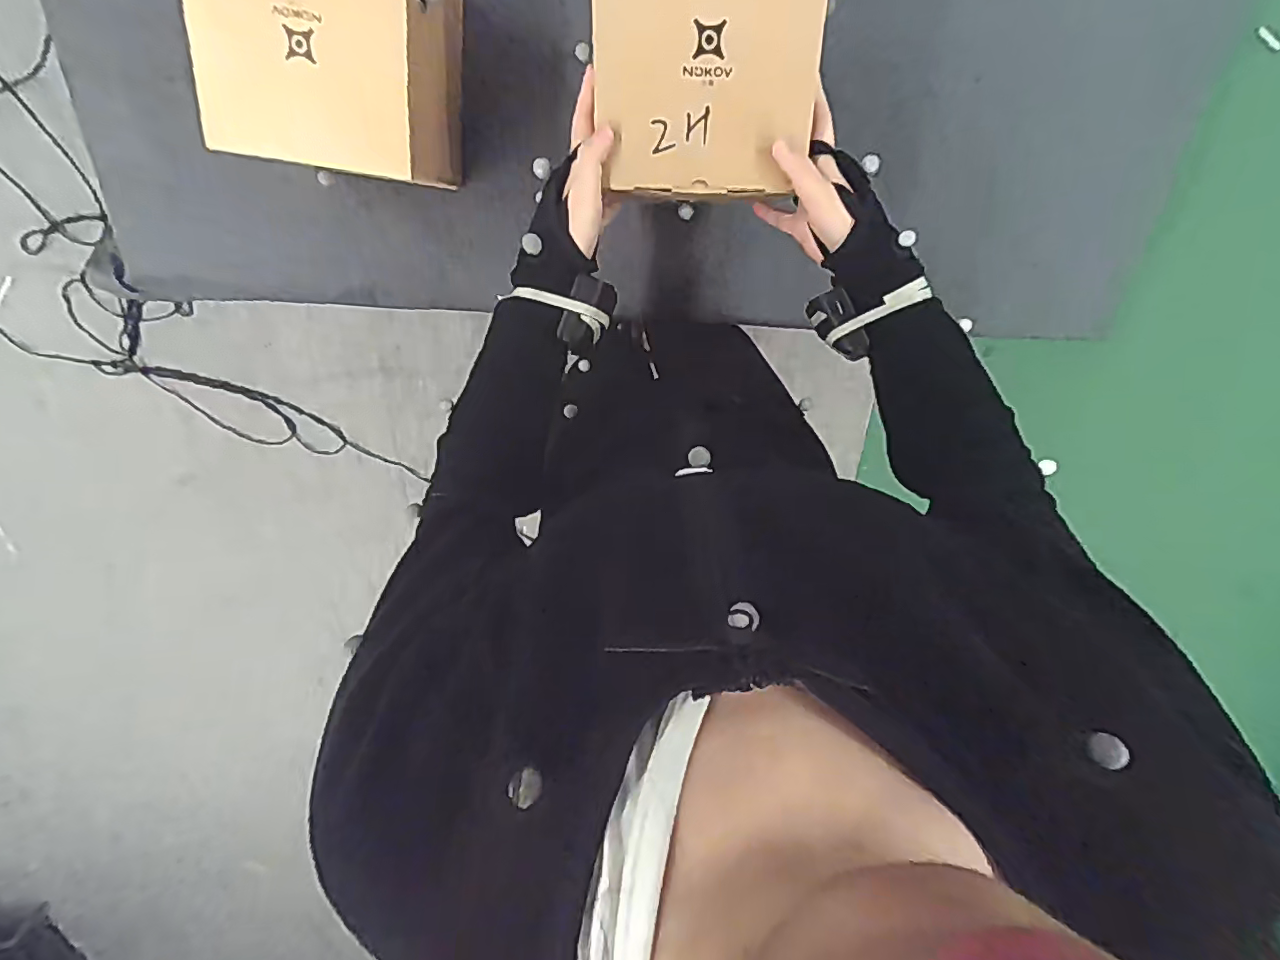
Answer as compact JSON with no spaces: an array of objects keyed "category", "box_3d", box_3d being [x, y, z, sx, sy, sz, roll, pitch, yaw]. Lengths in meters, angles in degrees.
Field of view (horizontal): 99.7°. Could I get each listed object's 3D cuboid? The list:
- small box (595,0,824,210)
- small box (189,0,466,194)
[{"category":"small box","box_3d":[0.046,-0.338,0.469,0.168,0.176,0.179,0,114,-1]},{"category":"small box","box_3d":[-0.263,-0.372,0.494,0.168,0.176,0.179,7,114,-5]}]
